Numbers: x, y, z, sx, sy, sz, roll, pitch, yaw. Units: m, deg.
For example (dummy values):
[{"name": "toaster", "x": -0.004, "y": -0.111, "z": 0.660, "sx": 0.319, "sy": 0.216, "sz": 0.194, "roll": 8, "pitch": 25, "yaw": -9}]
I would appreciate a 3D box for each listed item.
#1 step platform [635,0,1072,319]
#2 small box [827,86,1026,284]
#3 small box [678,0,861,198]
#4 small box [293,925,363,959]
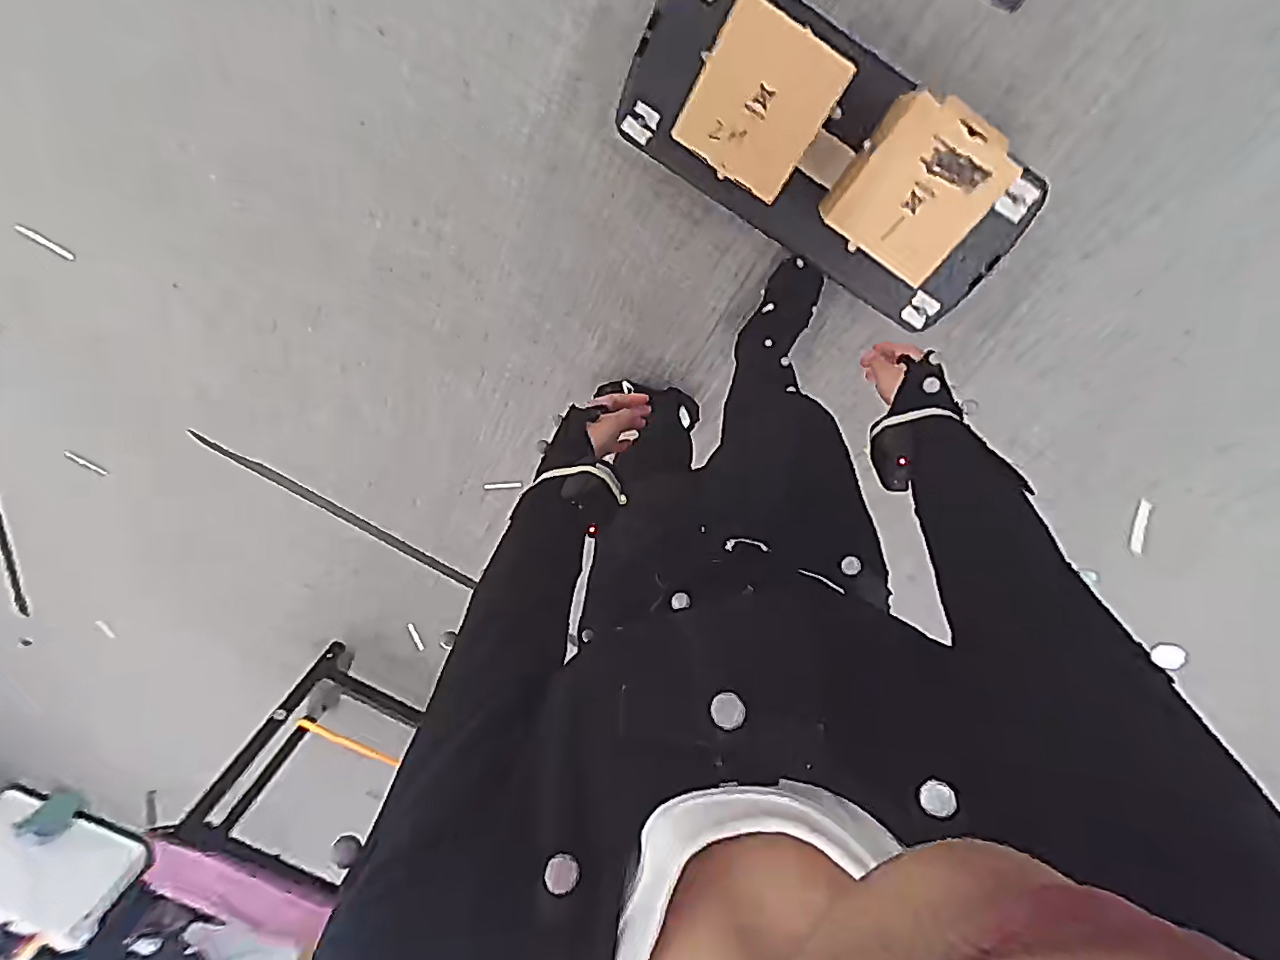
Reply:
[{"name": "step platform", "x": 0.333, "y": -0.565, "z": 0.903, "sx": 0.684, "sy": 0.204, "sz": 0.286, "roll": 31, "pitch": 123, "yaw": -6}, {"name": "small box", "x": 0.388, "y": -0.419, "z": 0.773, "sx": 0.168, "sy": 0.176, "sz": 0.179, "roll": 33, "pitch": 124, "yaw": -7}, {"name": "small box", "x": 0.174, "y": -0.529, "z": 0.754, "sx": 0.168, "sy": 0.176, "sz": 0.179, "roll": 32, "pitch": 123, "yaw": -6}, {"name": "small box", "x": -1.010, "y": 1.547, "z": 1.704, "sx": 0.179, "sy": 0.176, "sz": 0.168, "roll": 31, "pitch": 124, "yaw": -6}]
